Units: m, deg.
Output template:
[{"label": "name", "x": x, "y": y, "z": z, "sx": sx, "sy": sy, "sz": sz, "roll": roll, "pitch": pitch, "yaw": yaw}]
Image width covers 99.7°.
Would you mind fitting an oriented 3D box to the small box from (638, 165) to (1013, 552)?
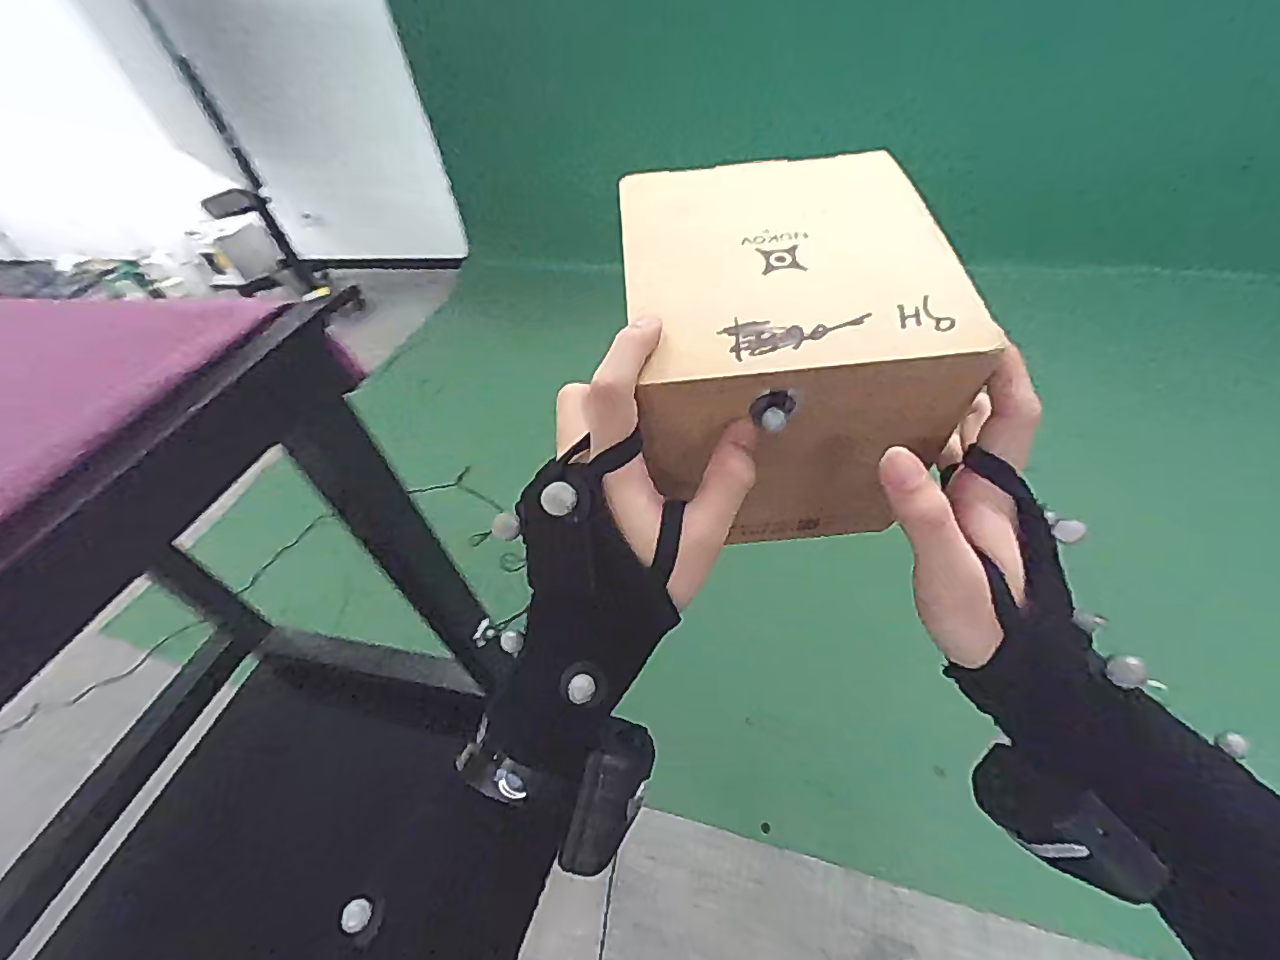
[{"label": "small box", "x": 0.087, "y": -0.072, "z": 0.353, "sx": 0.168, "sy": 0.176, "sz": 0.179, "roll": -5, "pitch": 55, "yaw": 3}]
